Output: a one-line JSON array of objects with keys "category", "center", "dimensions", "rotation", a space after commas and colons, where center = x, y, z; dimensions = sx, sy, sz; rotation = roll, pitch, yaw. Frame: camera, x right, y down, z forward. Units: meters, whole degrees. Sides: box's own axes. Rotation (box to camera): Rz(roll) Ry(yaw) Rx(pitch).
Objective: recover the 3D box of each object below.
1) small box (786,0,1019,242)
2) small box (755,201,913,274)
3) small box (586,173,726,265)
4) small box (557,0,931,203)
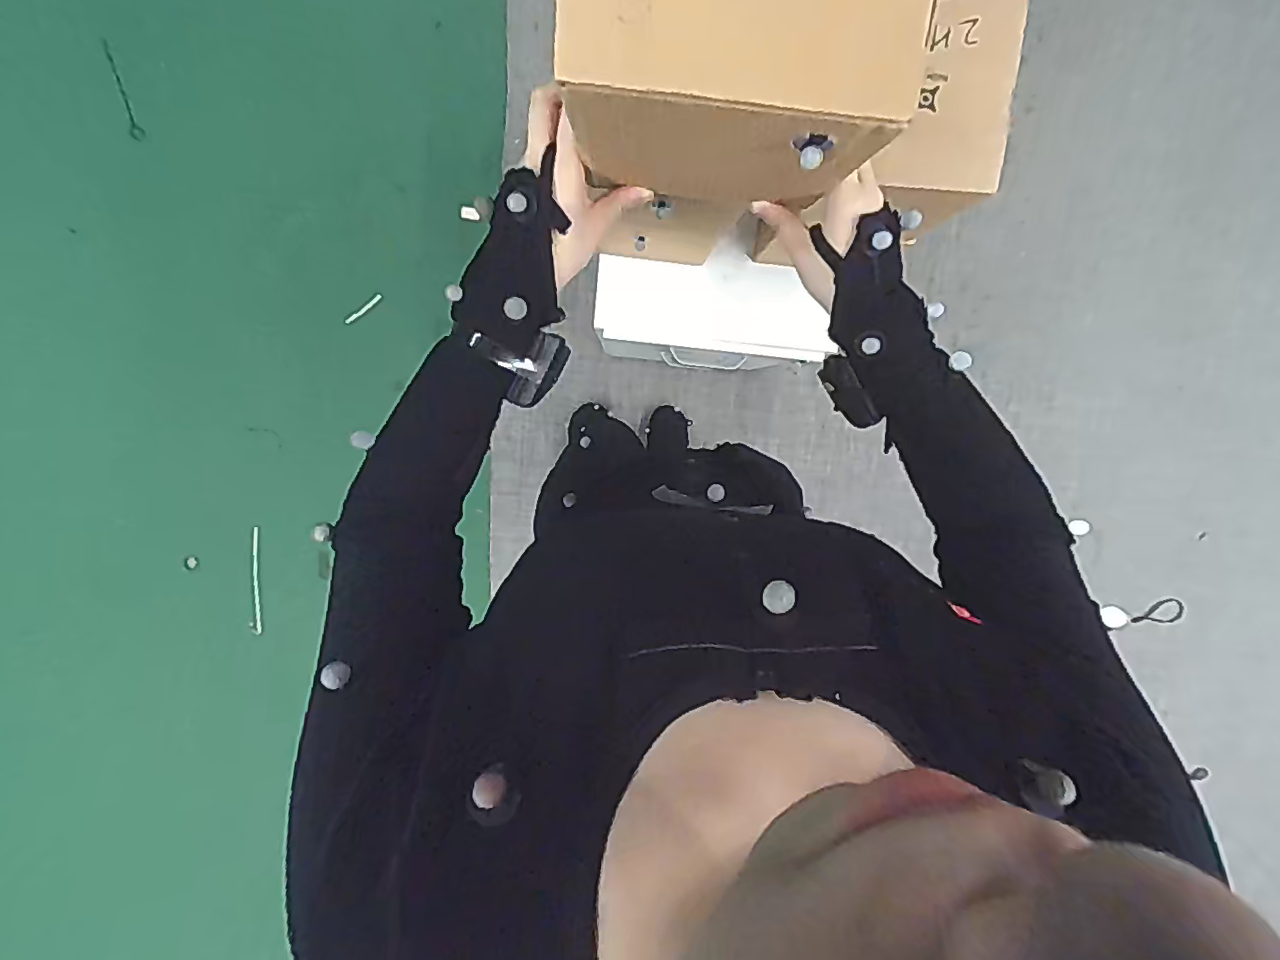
[{"category": "small box", "center": [0.269, -0.379, 0.599], "dimensions": [0.168, 0.176, 0.179], "rotation": [4, 99, -2]}, {"category": "small box", "center": [0.271, -0.399, 0.763], "dimensions": [0.179, 0.176, 0.168], "rotation": [6, 99, -2]}, {"category": "small box", "center": [0.024, -0.410, 0.754], "dimensions": [0.179, 0.176, 0.168], "rotation": [6, 99, -4]}, {"category": "small box", "center": [0.052, -0.280, 0.323], "dimensions": [0.179, 0.176, 0.168], "rotation": [5, 103, -3]}]
